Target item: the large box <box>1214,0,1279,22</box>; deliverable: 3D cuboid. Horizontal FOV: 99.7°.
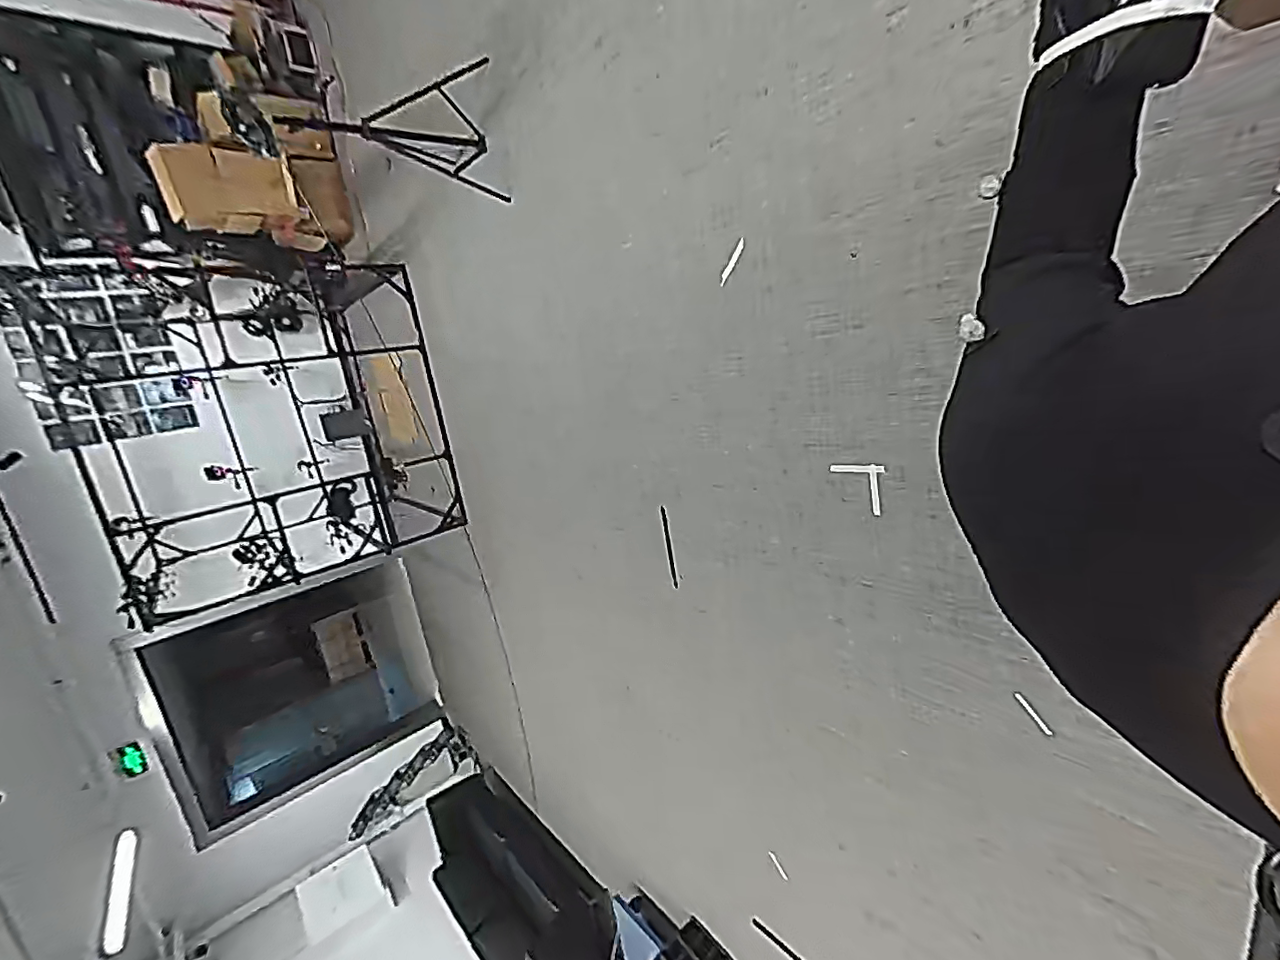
[{"bbox_3d":[0.543,-0.486,0.226,0.408,0.320,0.320,13,122,49],"label":"large box"}]
